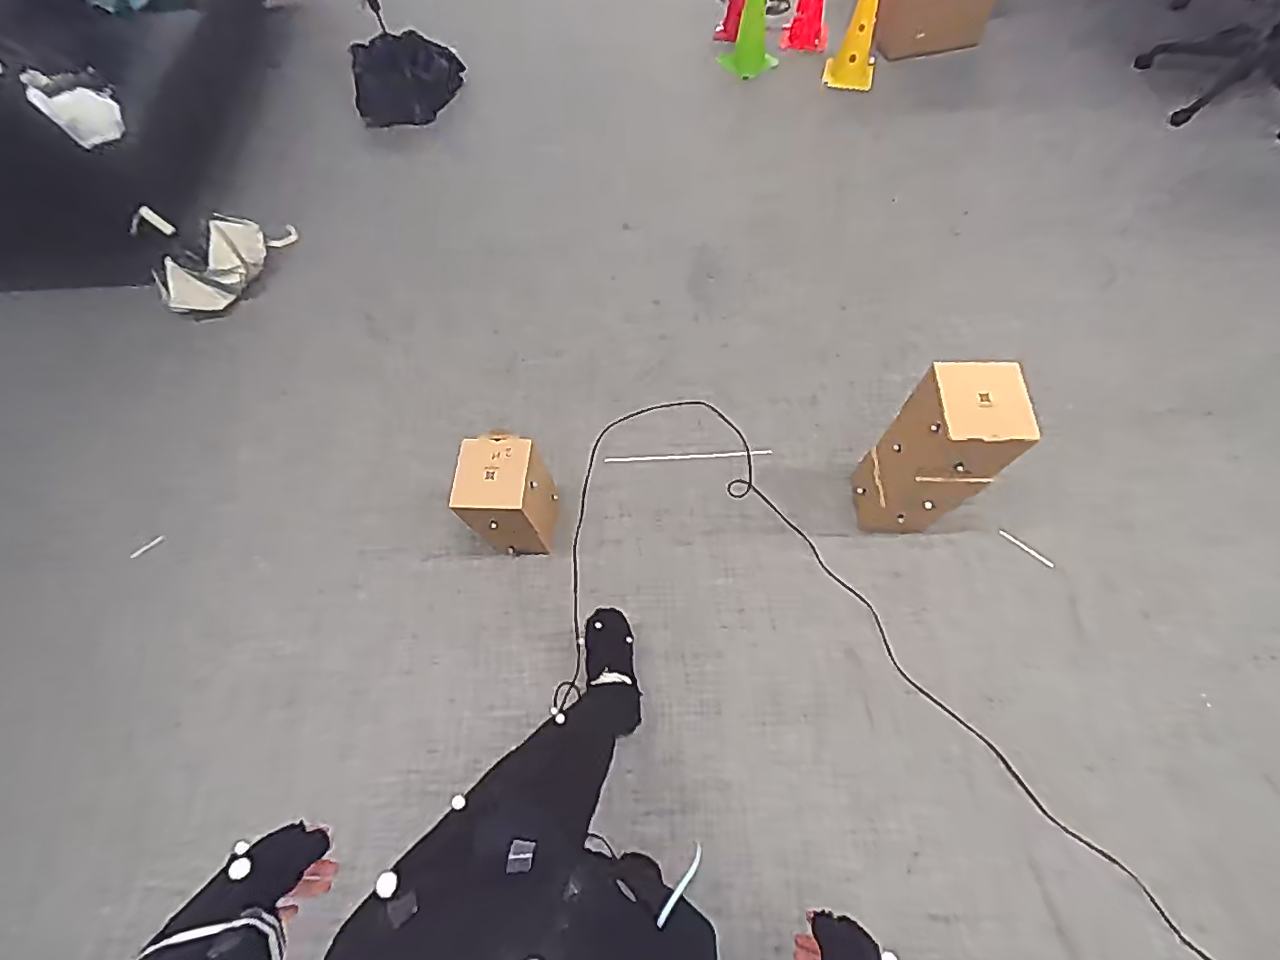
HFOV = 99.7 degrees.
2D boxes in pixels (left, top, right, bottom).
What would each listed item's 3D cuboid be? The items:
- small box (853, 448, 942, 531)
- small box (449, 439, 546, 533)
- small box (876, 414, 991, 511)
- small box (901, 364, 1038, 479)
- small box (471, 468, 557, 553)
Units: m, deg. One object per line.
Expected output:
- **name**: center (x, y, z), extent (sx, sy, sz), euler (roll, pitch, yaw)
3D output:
- **small box**: center (0.664, 0.028, 1.396), extent (0.179, 0.176, 0.168), euler (0, 66, 3)
- **small box**: center (-0.328, 0.020, 1.282), extent (0.168, 0.176, 0.179), euler (2, 65, 5)
- **small box**: center (0.663, -0.040, 1.246), extent (0.168, 0.176, 0.179), euler (1, 66, 3)
- **small box**: center (0.655, -0.116, 1.102), extent (0.168, 0.176, 0.179), euler (1, 66, 3)
- **small box**: center (-0.322, 0.077, 1.418), extent (0.168, 0.176, 0.179), euler (4, 66, 5)
